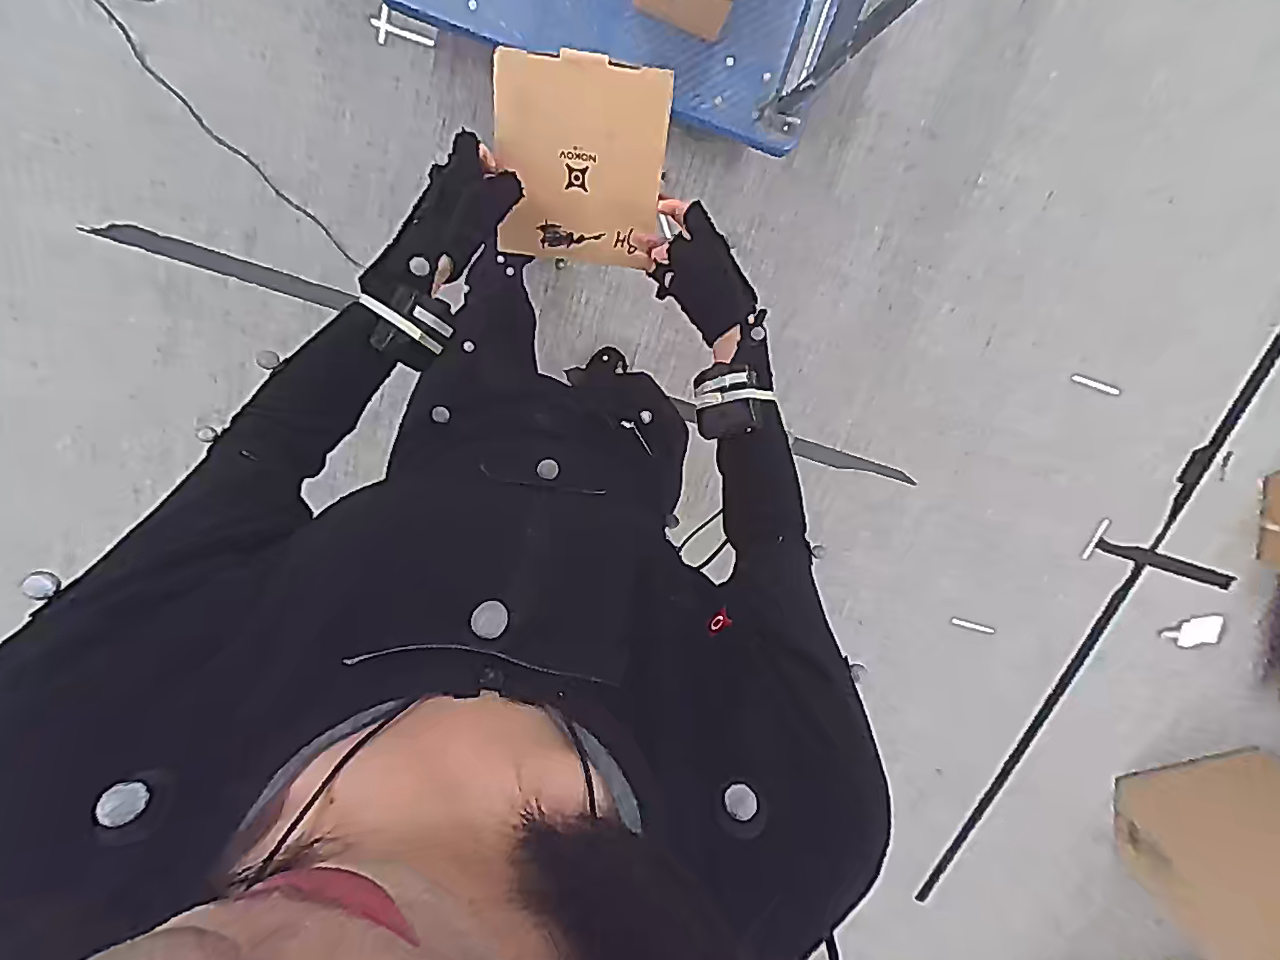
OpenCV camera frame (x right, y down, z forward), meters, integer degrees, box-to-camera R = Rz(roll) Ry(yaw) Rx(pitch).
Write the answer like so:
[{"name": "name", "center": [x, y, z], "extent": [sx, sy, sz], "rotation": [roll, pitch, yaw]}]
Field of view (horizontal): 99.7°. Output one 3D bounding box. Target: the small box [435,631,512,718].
[{"name": "small box", "center": [-0.495, 0.578, 1.625], "extent": [0.179, 0.176, 0.168], "rotation": [12, 108, -8]}]

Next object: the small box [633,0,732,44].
[{"name": "small box", "center": [0.094, -0.922, 0.955], "extent": [0.179, 0.176, 0.168], "rotation": [17, 106, -9]}]

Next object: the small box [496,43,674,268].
[{"name": "small box", "center": [-0.058, -0.350, 0.607], "extent": [0.168, 0.176, 0.179], "rotation": [8, 118, -1]}]
